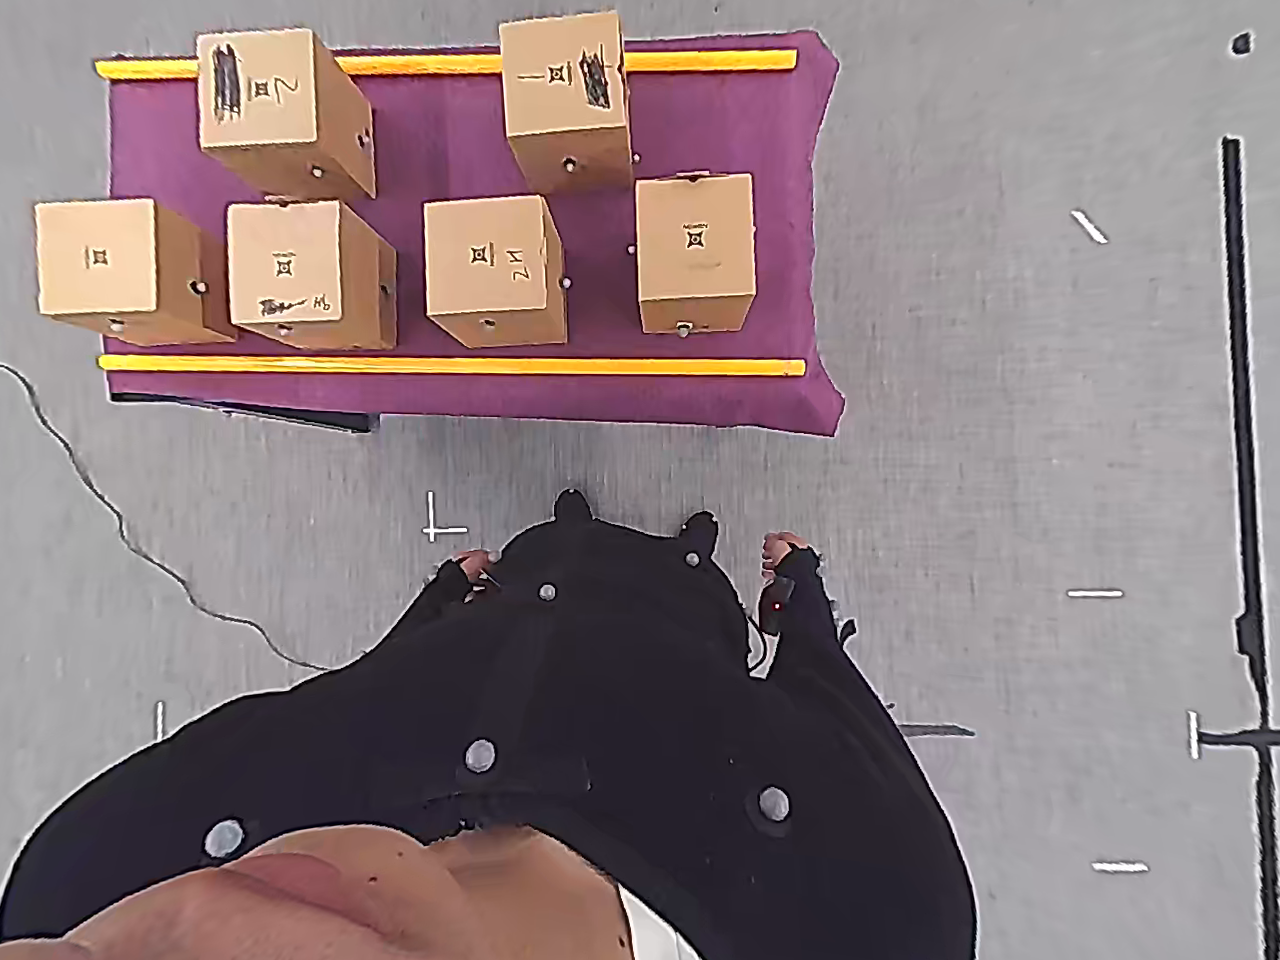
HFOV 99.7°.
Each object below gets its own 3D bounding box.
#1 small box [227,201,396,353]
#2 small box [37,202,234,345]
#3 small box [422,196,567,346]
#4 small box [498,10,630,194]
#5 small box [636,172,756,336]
[{"bbox_3d":[-0.503,-0.309,0.851,0.168,0.176,0.179,-1,89,4],"label":"small box"},{"bbox_3d":[-0.784,-0.319,0.863,0.179,0.176,0.168,-2,89,1],"label":"small box"},{"bbox_3d":[-0.217,-0.312,0.839,0.179,0.176,0.168,-2,88,3],"label":"small box"},{"bbox_3d":[-0.106,-0.571,0.839,0.179,0.176,0.168,-4,90,3],"label":"small box"},{"bbox_3d":[0.080,-0.335,0.827,0.168,0.176,0.179,-2,87,4],"label":"small box"}]
